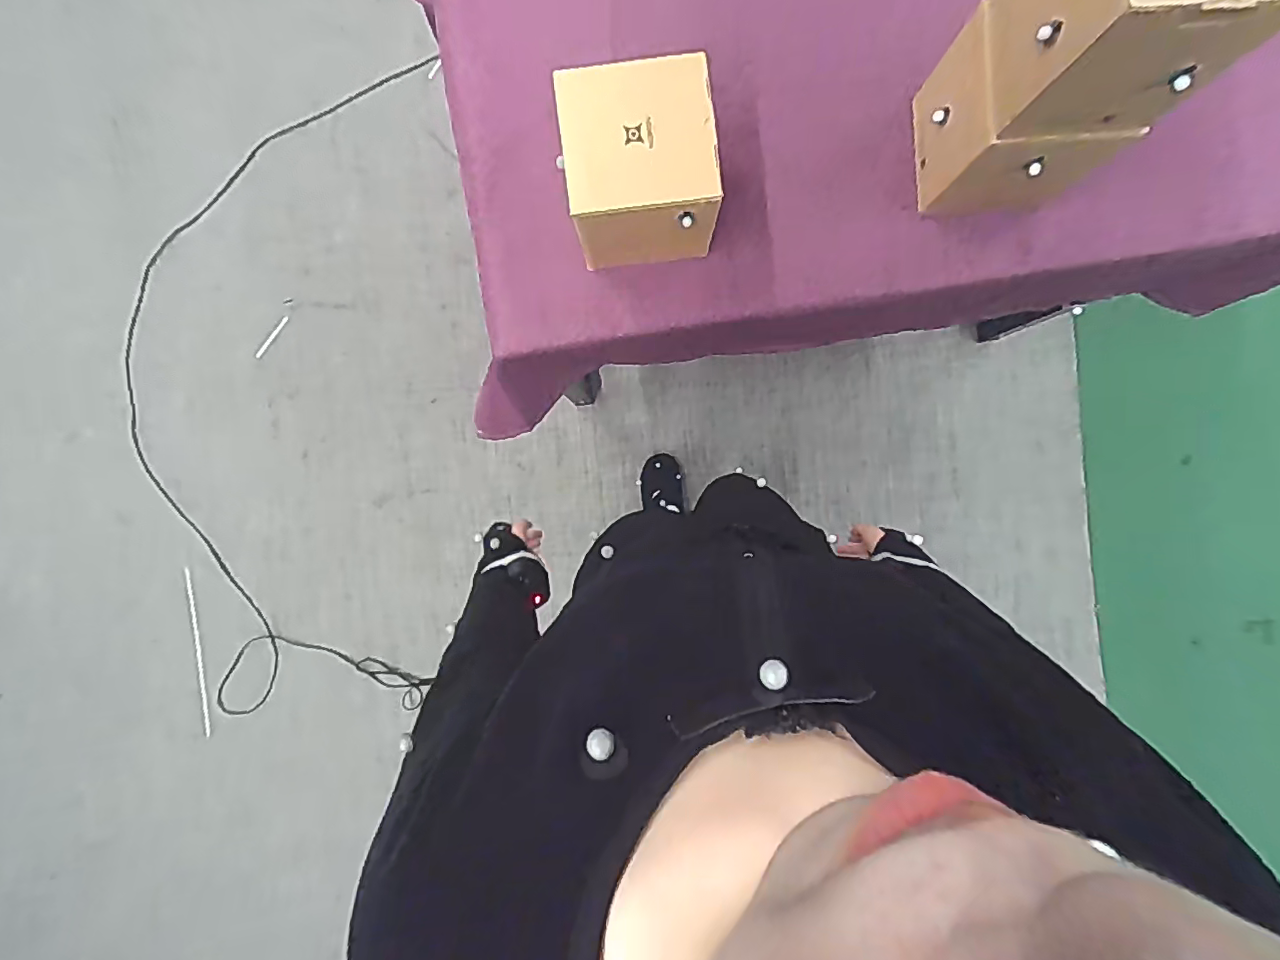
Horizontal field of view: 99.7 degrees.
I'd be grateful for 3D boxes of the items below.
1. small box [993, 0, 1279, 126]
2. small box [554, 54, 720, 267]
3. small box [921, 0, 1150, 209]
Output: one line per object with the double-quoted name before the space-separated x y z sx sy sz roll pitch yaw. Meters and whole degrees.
"small box" 0.466 -0.467 0.511 0.168 0.176 0.179 -2 90 1
"small box" -0.001 -0.390 0.692 0.179 0.176 0.168 -7 90 1
"small box" 0.471 -0.460 0.674 0.179 0.176 0.168 -3 91 2
